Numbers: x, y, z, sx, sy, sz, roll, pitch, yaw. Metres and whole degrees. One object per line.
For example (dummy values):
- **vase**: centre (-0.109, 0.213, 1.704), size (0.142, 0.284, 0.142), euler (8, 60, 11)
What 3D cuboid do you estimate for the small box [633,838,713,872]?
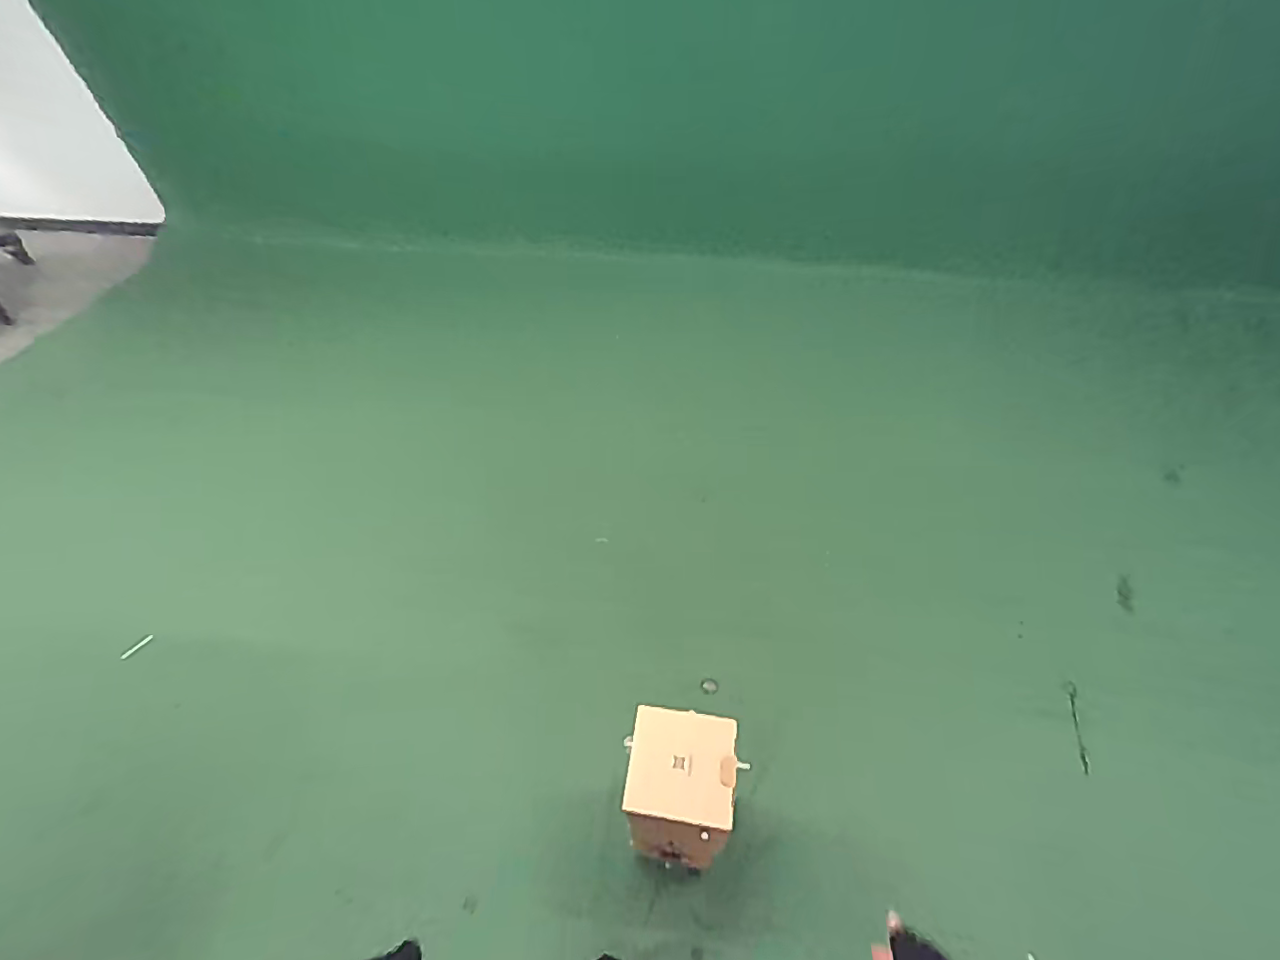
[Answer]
- **small box**: centre (0.082, 0.736, 1.192), size (0.168, 0.176, 0.179), euler (6, 50, 9)

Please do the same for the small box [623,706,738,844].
- **small box**: centre (0.073, 0.519, 0.947), size (0.179, 0.176, 0.168), euler (6, 49, 7)

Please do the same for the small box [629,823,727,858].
- **small box**: centre (0.082, 0.625, 1.067), size (0.179, 0.176, 0.168), euler (9, 48, 9)
